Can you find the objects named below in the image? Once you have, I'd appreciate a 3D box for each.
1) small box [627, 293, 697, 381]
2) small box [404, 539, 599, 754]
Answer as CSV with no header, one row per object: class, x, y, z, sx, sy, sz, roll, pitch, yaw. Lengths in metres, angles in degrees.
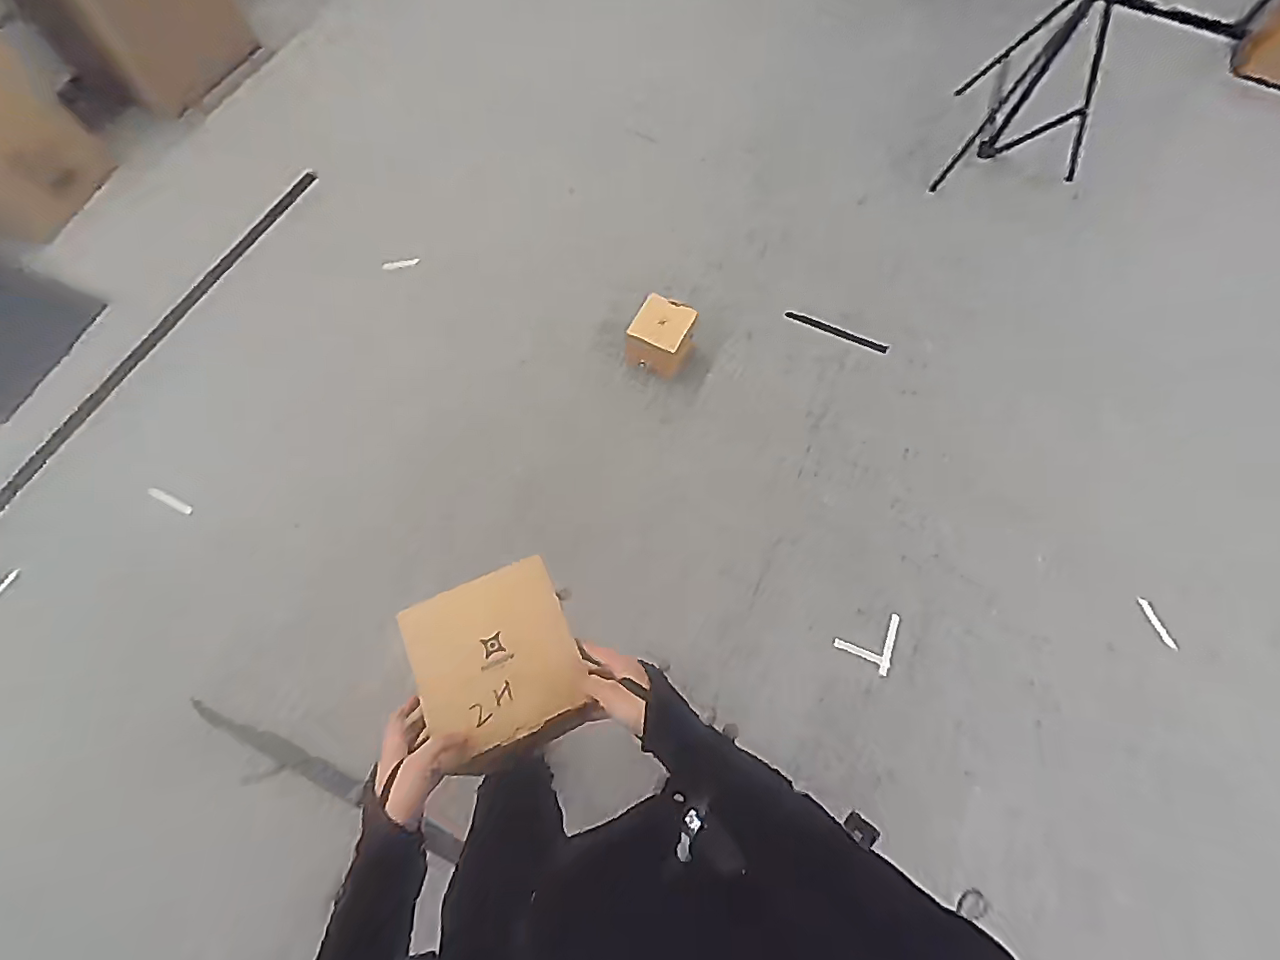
small box,0.064,-0.452,1.728,0.168,0.176,0.179,26,70,9
small box,-0.155,0.202,0.641,0.168,0.176,0.179,-21,64,-13
